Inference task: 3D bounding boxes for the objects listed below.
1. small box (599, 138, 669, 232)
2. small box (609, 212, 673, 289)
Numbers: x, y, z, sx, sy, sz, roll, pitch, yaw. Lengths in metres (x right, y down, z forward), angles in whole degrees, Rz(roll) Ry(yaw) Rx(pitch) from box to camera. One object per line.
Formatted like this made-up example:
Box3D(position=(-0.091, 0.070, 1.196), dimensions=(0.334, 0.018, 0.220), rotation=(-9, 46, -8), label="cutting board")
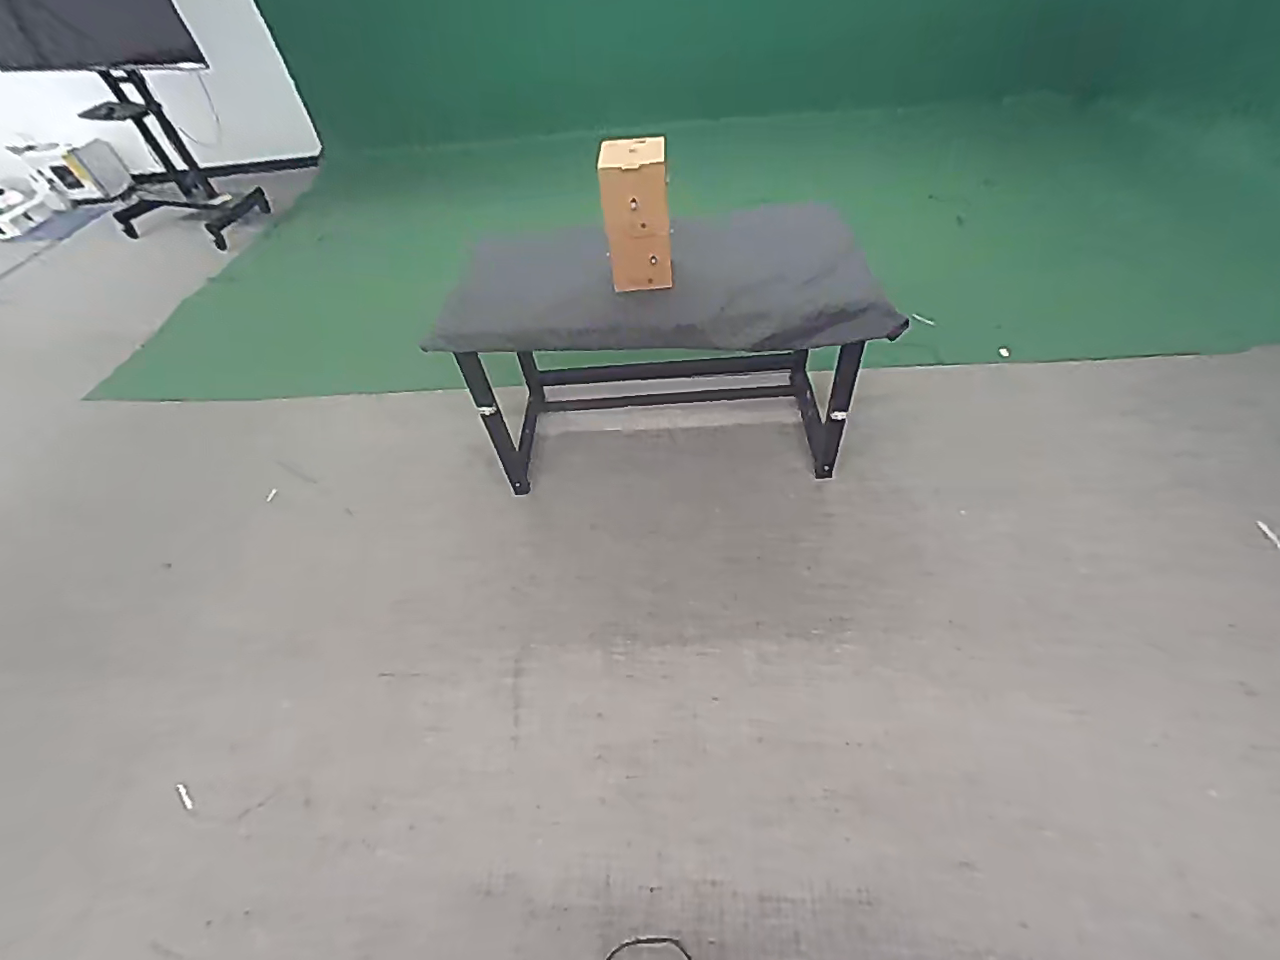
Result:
Box3D(position=(-0.009, -0.771, 1.423), dimensions=(0.168, 0.176, 0.179), rotation=(-1, 51, 4), label="small box")
Box3D(position=(0.007, -0.661, 1.545), dimensions=(0.168, 0.176, 0.179), rotation=(-2, 49, 3), label="small box")
